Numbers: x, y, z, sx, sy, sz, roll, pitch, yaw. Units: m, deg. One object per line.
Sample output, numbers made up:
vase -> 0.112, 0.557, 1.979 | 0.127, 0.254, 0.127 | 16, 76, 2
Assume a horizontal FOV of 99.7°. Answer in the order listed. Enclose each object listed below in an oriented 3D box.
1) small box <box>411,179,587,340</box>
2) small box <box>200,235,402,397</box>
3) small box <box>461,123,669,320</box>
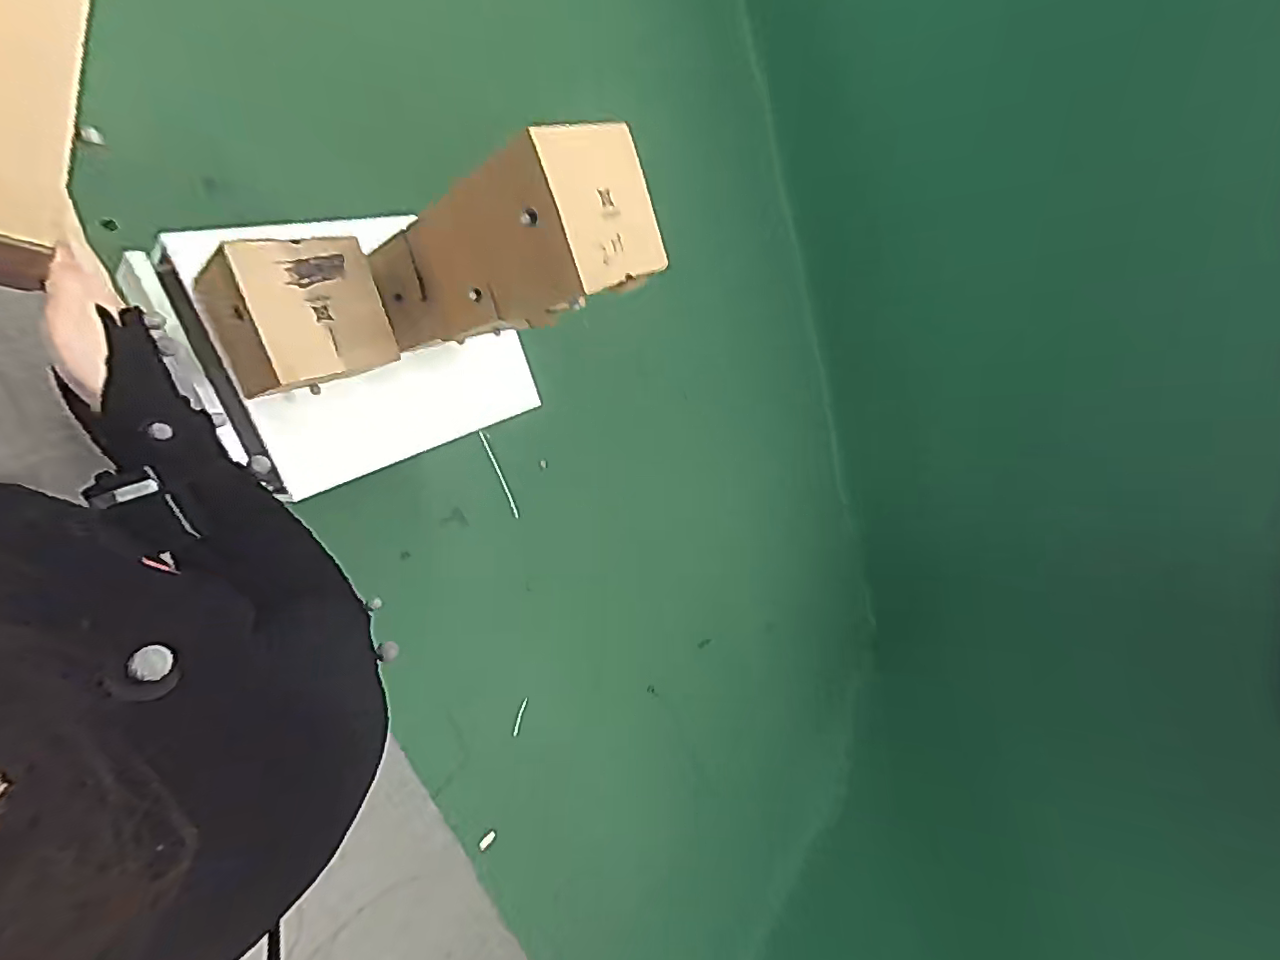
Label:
small box -> -0.211, -0.320, 0.805 | 0.168, 0.176, 0.179 | -28, 111, -44
small box -> -0.474, -0.226, 0.756 | 0.168, 0.176, 0.179 | -29, 112, -44
small box -> -0.095, -0.322, 0.688 | 0.168, 0.176, 0.179 | -36, 117, -40
